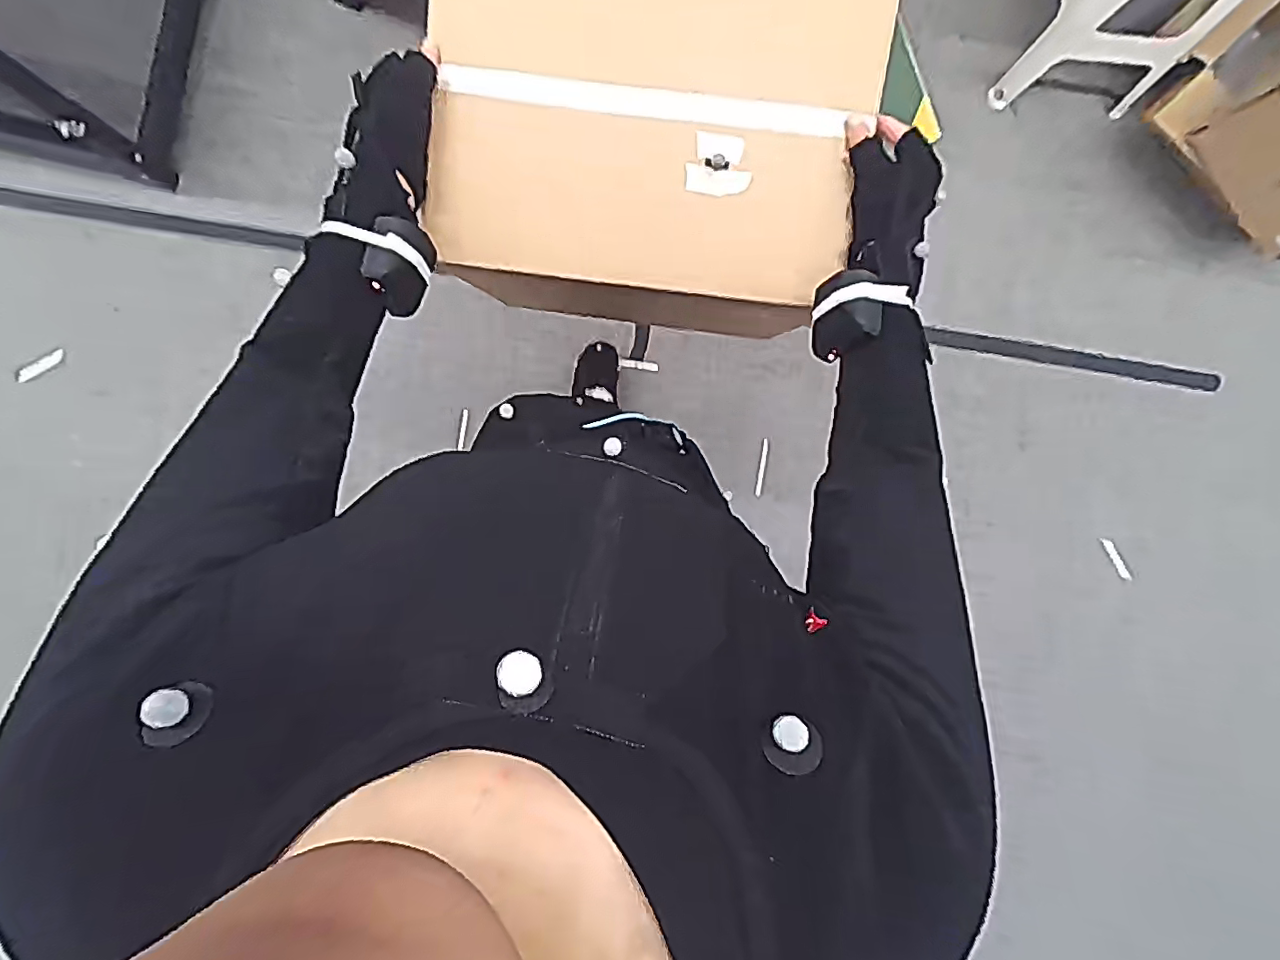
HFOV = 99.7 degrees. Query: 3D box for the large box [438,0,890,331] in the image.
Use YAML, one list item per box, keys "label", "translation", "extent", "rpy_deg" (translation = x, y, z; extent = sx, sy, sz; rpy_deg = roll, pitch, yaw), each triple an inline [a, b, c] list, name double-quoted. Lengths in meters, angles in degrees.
- label: "large box"
  translation: [0.015, -0.372, 0.648]
  extent: [0.408, 0.320, 0.320]
  rpy_deg: [7, 100, -1]
